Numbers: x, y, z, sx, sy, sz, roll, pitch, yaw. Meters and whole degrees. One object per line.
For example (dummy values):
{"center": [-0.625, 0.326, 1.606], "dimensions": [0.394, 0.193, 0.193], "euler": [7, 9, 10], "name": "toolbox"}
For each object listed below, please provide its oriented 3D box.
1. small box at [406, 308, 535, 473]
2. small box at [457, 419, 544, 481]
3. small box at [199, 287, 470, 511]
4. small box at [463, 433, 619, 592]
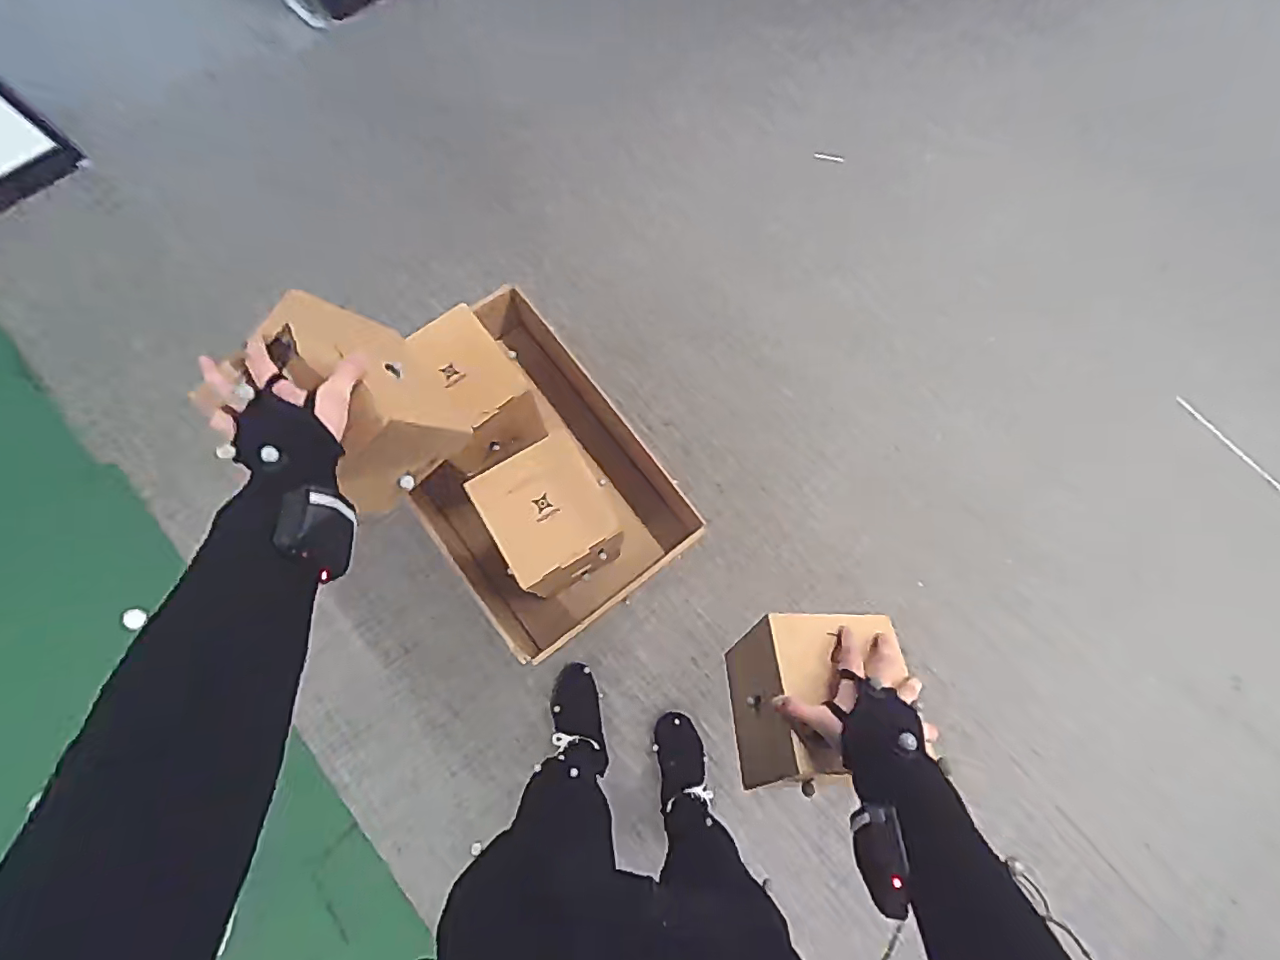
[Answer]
{"center": [-0.290, -0.135, 0.882], "dimensions": [0.168, 0.176, 0.179], "euler": [-37, 83, -11], "name": "small box"}
{"center": [-0.302, -0.102, 1.040], "dimensions": [0.168, 0.176, 0.179], "euler": [-37, 82, -10], "name": "small box"}
{"center": [-0.338, -0.082, 0.629], "dimensions": [0.168, 0.176, 0.179], "euler": [-40, 84, 8], "name": "small box"}
{"center": [-0.144, 0.059, 0.840], "dimensions": [0.168, 0.176, 0.179], "euler": [-30, 79, -10], "name": "small box"}
